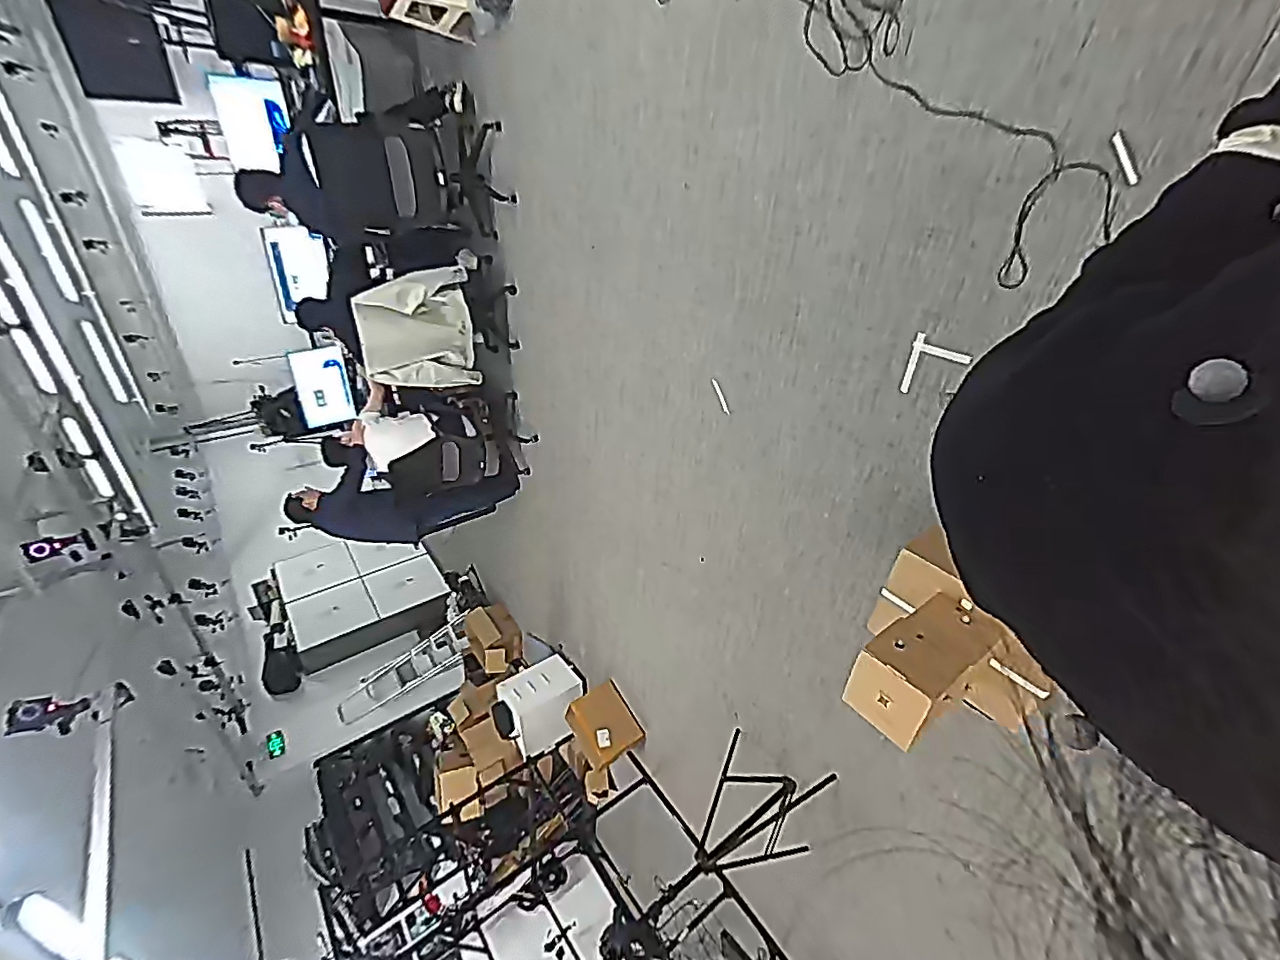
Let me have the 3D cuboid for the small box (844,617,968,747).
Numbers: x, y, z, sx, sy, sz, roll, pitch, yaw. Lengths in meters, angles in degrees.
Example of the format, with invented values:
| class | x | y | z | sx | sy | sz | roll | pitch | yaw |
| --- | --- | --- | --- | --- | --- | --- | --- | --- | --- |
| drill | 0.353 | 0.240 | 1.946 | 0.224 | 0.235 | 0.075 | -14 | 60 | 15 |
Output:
| class | x | y | z | sx | sy | sz | roll | pitch | yaw |
| --- | --- | --- | --- | --- | --- | --- | --- | --- | --- |
| small box | 0.591 | 0.439 | 1.199 | 0.168 | 0.176 | 0.179 | 36 | 135 | 42 |

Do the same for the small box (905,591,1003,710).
| class | x | y | z | sx | sy | sz | roll | pitch | yaw |
| --- | --- | --- | --- | --- | --- | --- | --- | --- | --- |
| small box | 0.722 | 0.400 | 1.287 | 0.168 | 0.176 | 0.179 | 37 | 134 | 40 |
